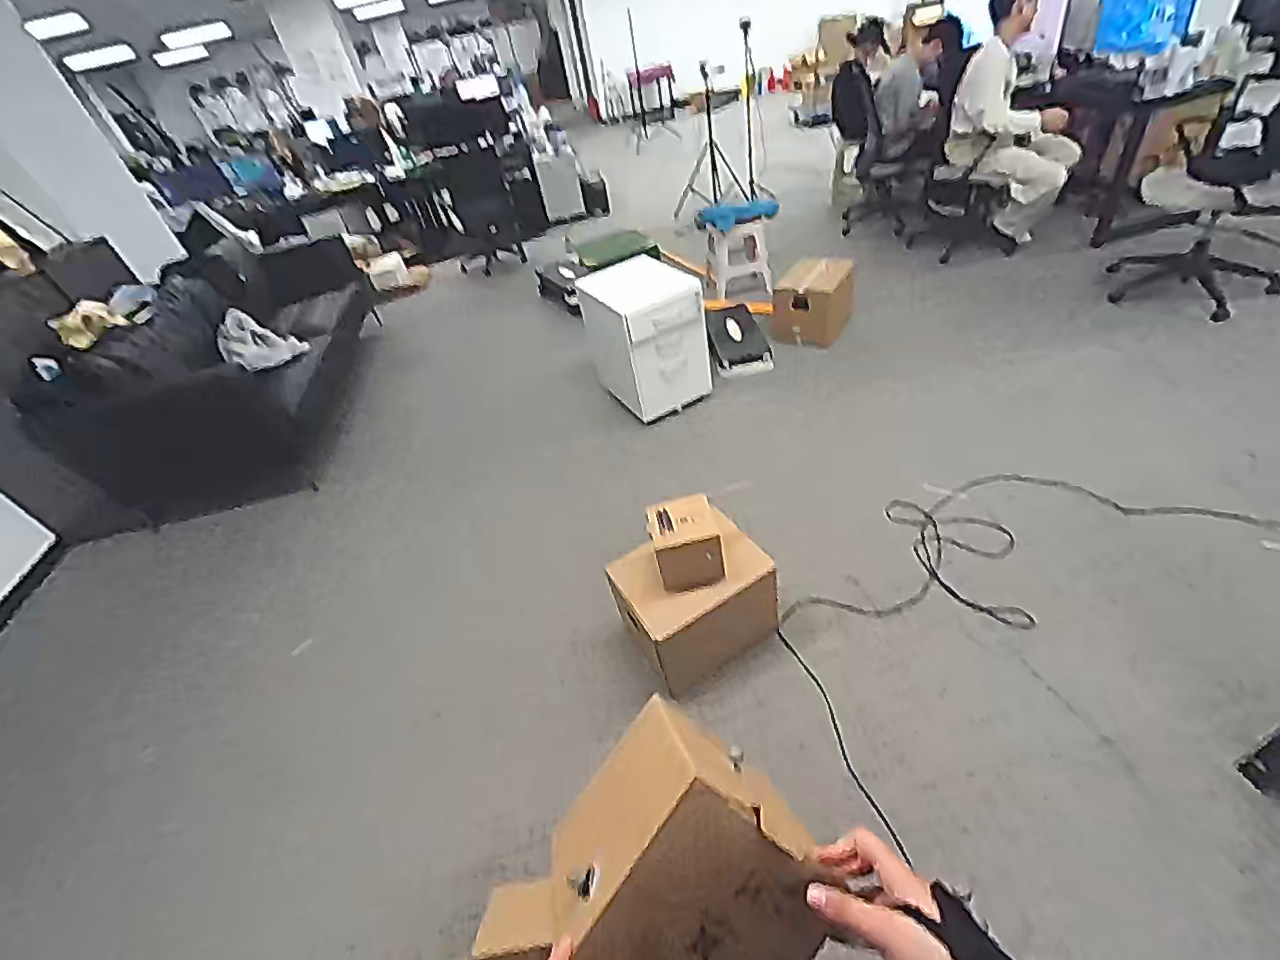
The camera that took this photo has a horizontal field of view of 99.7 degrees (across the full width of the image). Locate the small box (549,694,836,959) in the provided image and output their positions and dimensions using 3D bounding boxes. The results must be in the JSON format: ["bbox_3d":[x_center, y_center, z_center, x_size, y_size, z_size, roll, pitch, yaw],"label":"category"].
[{"bbox_3d":[0.034,0.338,0.500,0.179,0.168,0.176,-52,7,-7],"label":"small box"}]
